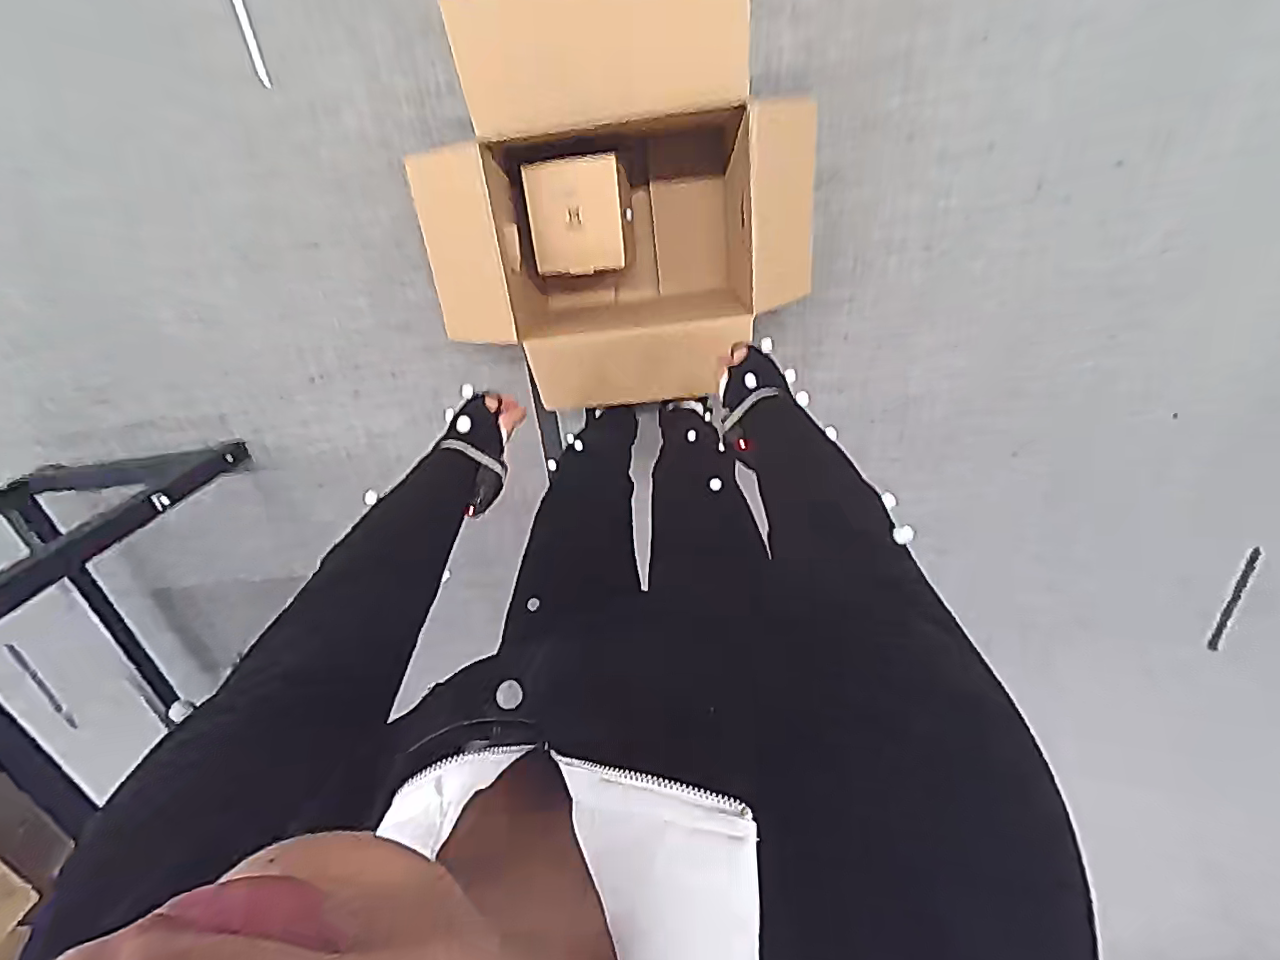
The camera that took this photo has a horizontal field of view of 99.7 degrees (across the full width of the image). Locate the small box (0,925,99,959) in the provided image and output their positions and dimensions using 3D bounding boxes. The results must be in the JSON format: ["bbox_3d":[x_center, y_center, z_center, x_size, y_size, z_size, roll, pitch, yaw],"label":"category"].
[{"bbox_3d":[-1.180,0.968,1.011,0.179,0.176,0.168,-5,117,4],"label":"small box"}]

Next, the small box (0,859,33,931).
[{"bbox_3d":[-1.200,0.733,0.891,0.179,0.176,0.168,-5,117,4],"label":"small box"}]
